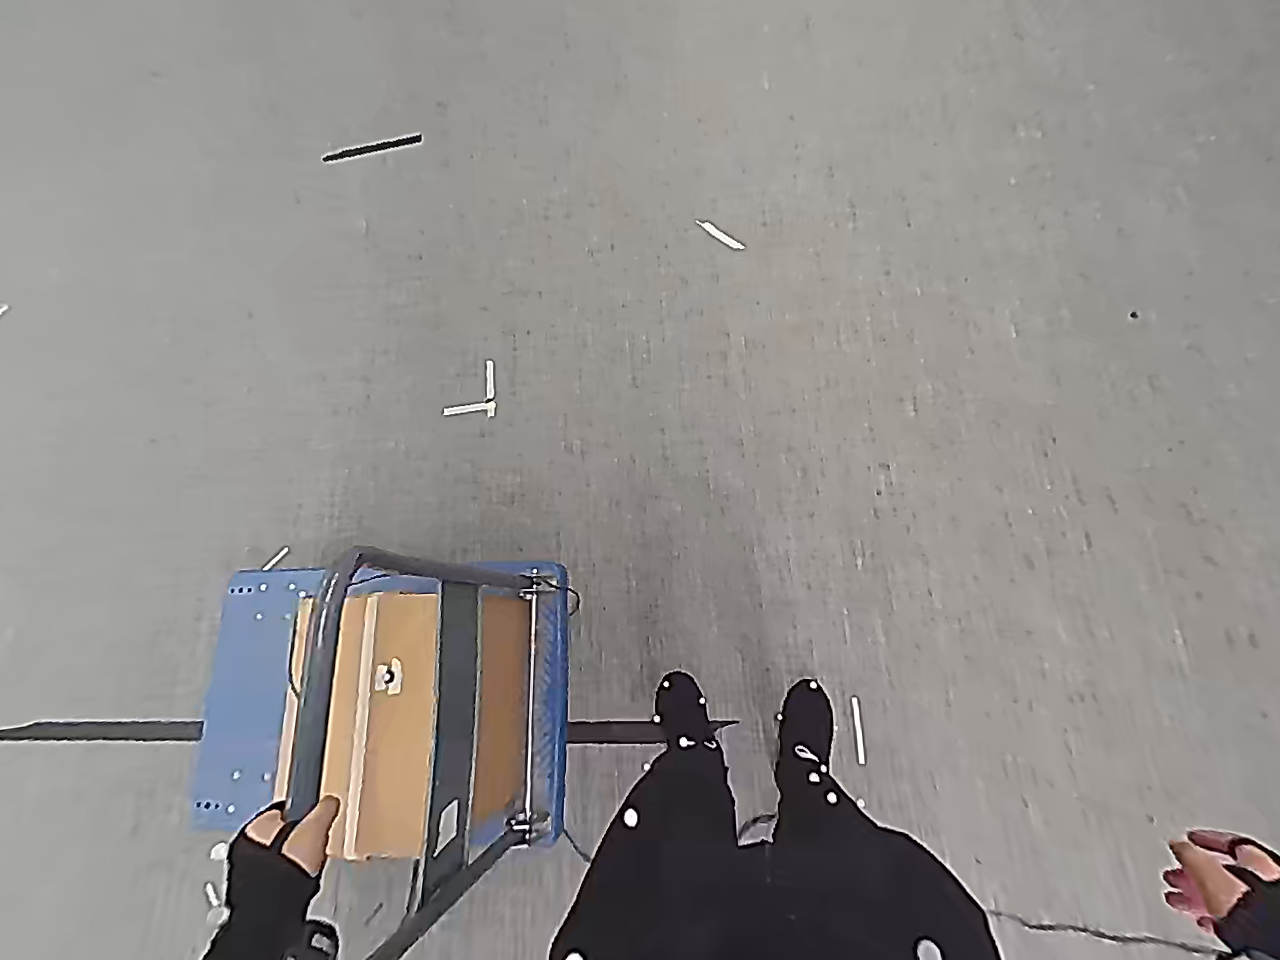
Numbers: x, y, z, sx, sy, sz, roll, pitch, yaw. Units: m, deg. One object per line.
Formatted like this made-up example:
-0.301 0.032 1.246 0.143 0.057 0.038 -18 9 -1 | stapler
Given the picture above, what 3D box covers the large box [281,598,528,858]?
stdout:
-0.421 0.447 1.054 0.320 0.320 0.408 -4 75 10 | large box
